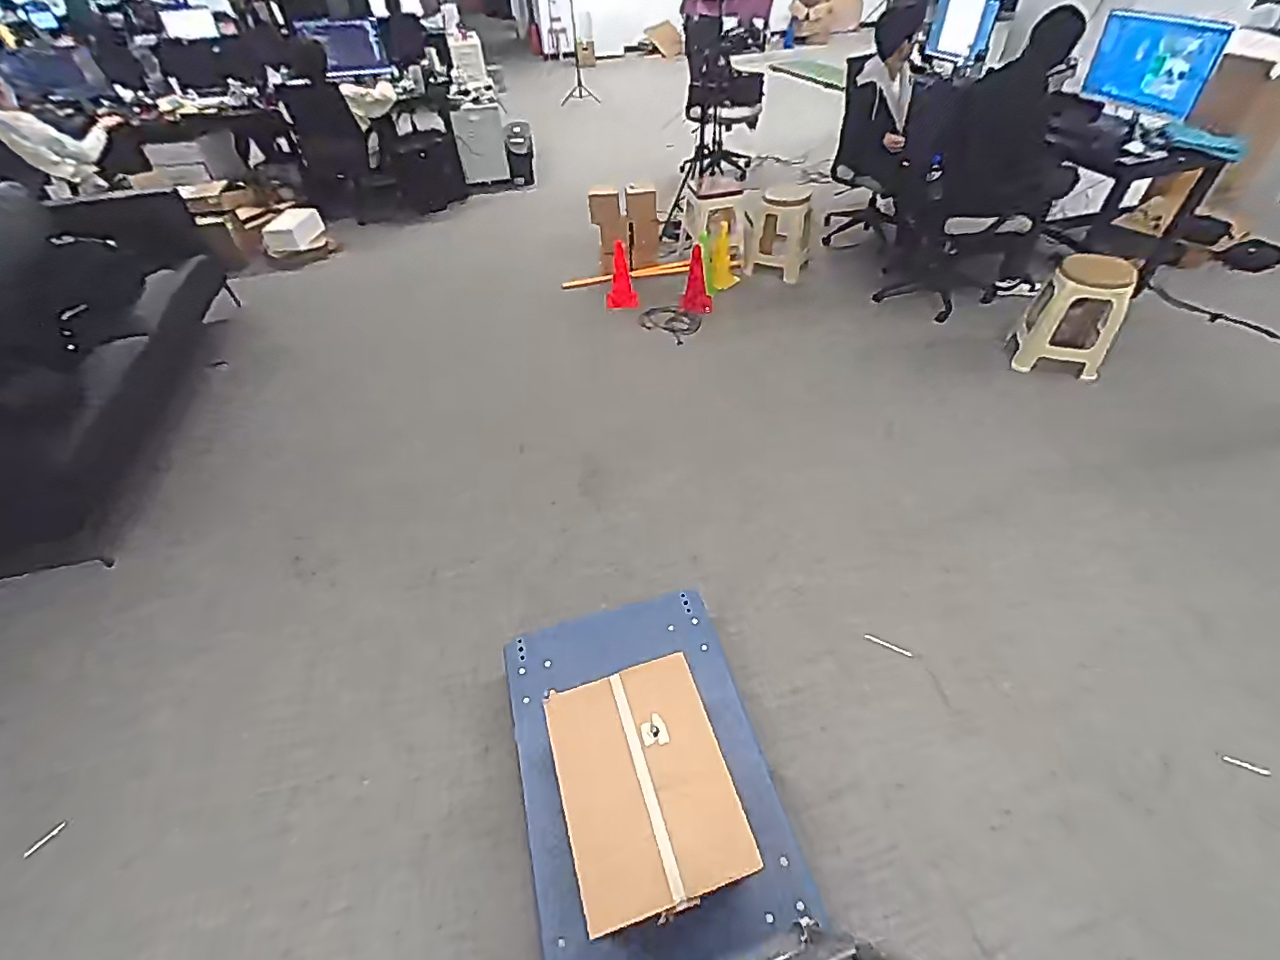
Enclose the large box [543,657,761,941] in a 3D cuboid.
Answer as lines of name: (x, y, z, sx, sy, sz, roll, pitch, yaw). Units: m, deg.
large box: (0.015, 0.661, 1.143, 0.320, 0.320, 0.408, -16, 53, -9)
